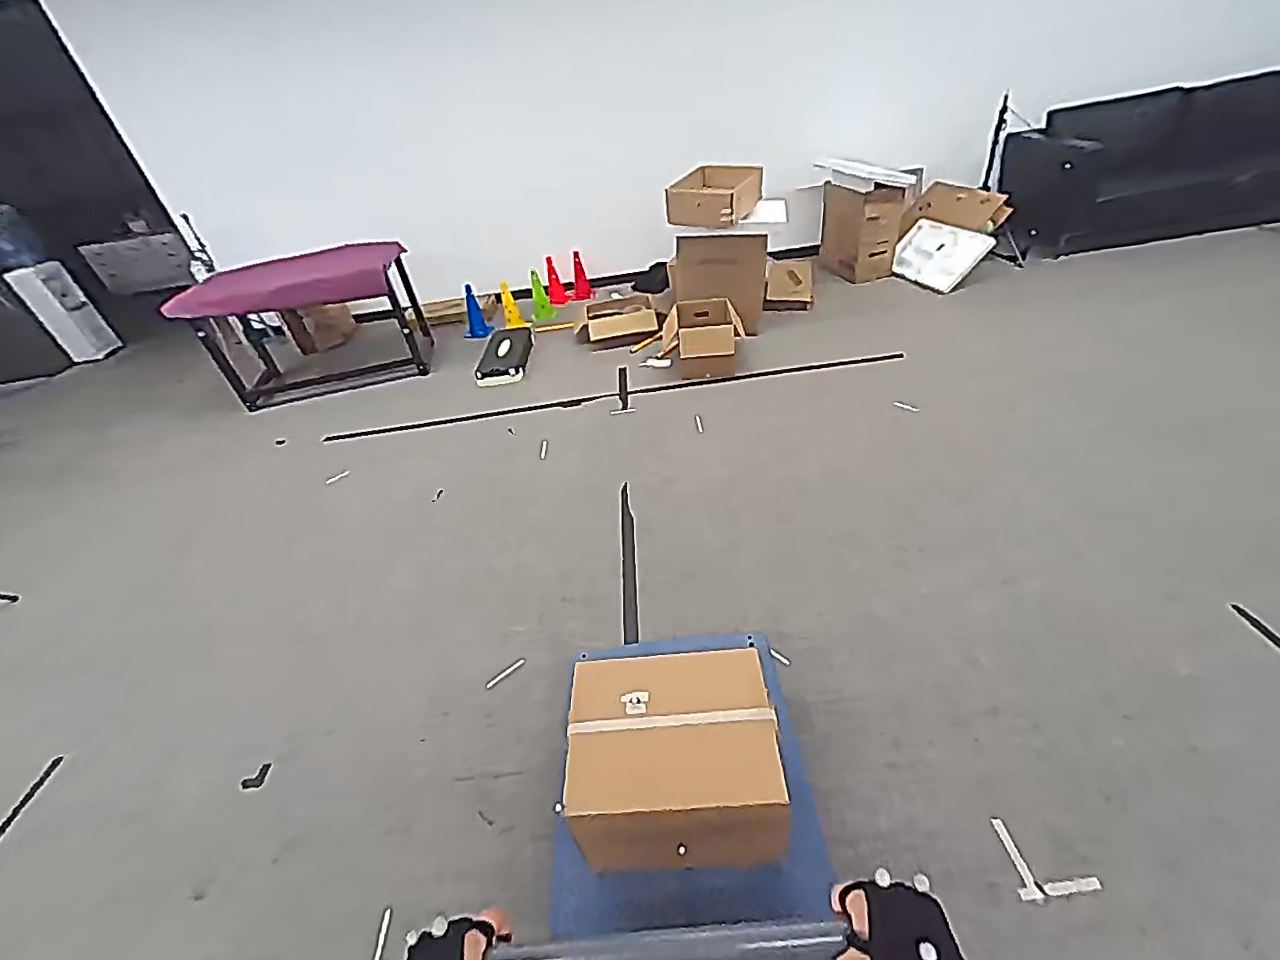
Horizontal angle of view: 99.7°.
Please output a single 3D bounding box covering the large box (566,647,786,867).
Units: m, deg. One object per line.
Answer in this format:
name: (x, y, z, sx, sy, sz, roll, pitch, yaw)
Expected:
large box: (0.080, 0.601, 1.175, 0.408, 0.320, 0.320, -7, 37, 4)
